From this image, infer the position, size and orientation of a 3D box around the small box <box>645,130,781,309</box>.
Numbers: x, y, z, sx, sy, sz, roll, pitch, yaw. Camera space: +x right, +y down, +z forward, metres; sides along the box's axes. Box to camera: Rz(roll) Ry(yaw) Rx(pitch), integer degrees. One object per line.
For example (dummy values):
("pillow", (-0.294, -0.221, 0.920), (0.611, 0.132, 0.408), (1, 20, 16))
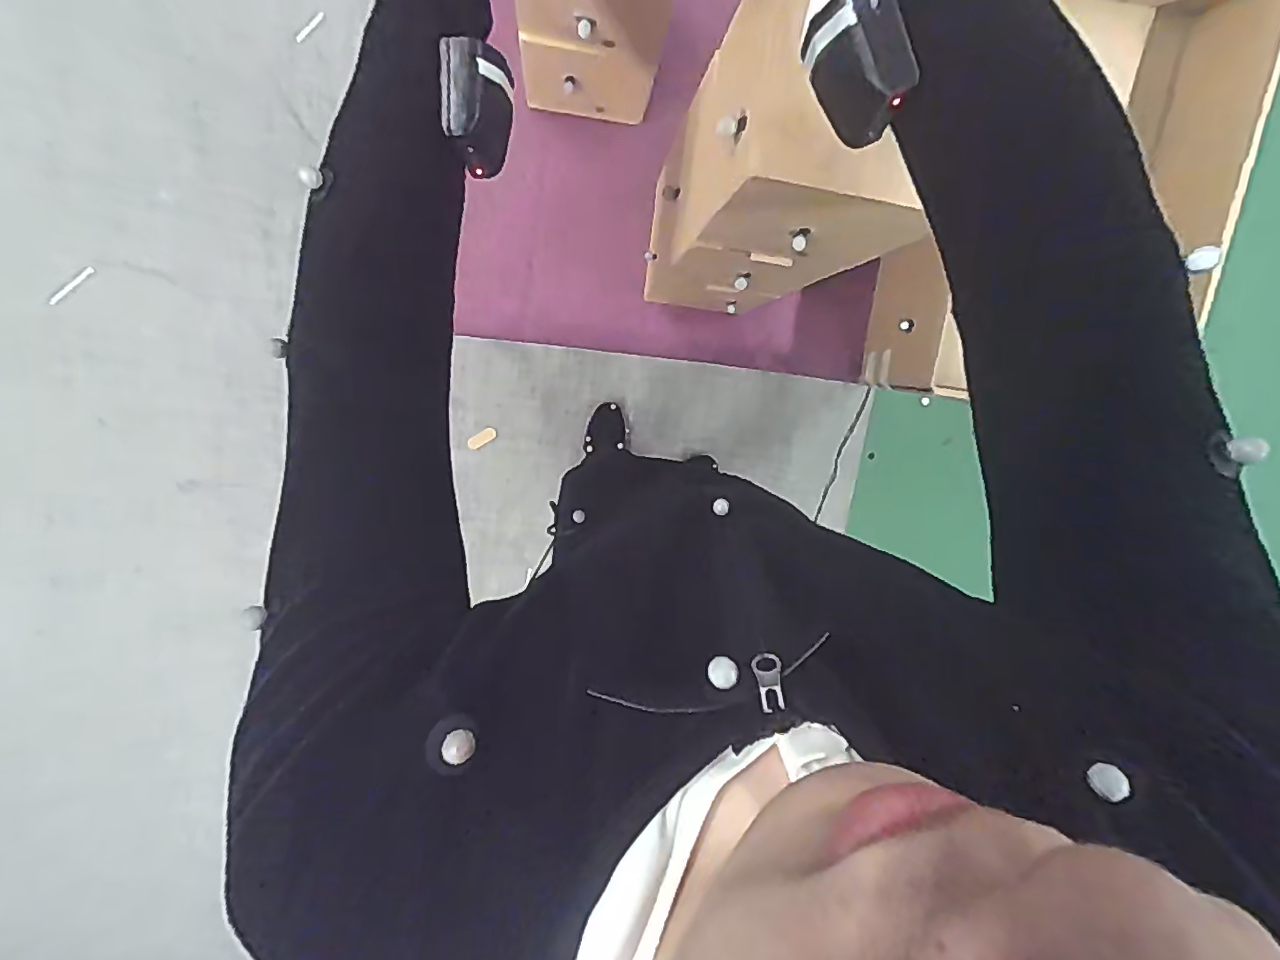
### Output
("small box", (0.105, -0.348, 0.759), (0.168, 0.176, 0.179), (6, 98, -9))

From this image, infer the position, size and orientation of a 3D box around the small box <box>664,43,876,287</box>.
("small box", (0.126, -0.324, 0.599), (0.168, 0.176, 0.179), (5, 99, -9))

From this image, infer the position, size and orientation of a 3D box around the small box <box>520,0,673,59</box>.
("small box", (-0.034, -0.574, 0.532), (0.168, 0.176, 0.179), (8, 99, -8))

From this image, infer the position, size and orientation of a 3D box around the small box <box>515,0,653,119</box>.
("small box", (-0.063, -0.601, 0.692), (0.168, 0.176, 0.179), (4, 99, -8))
